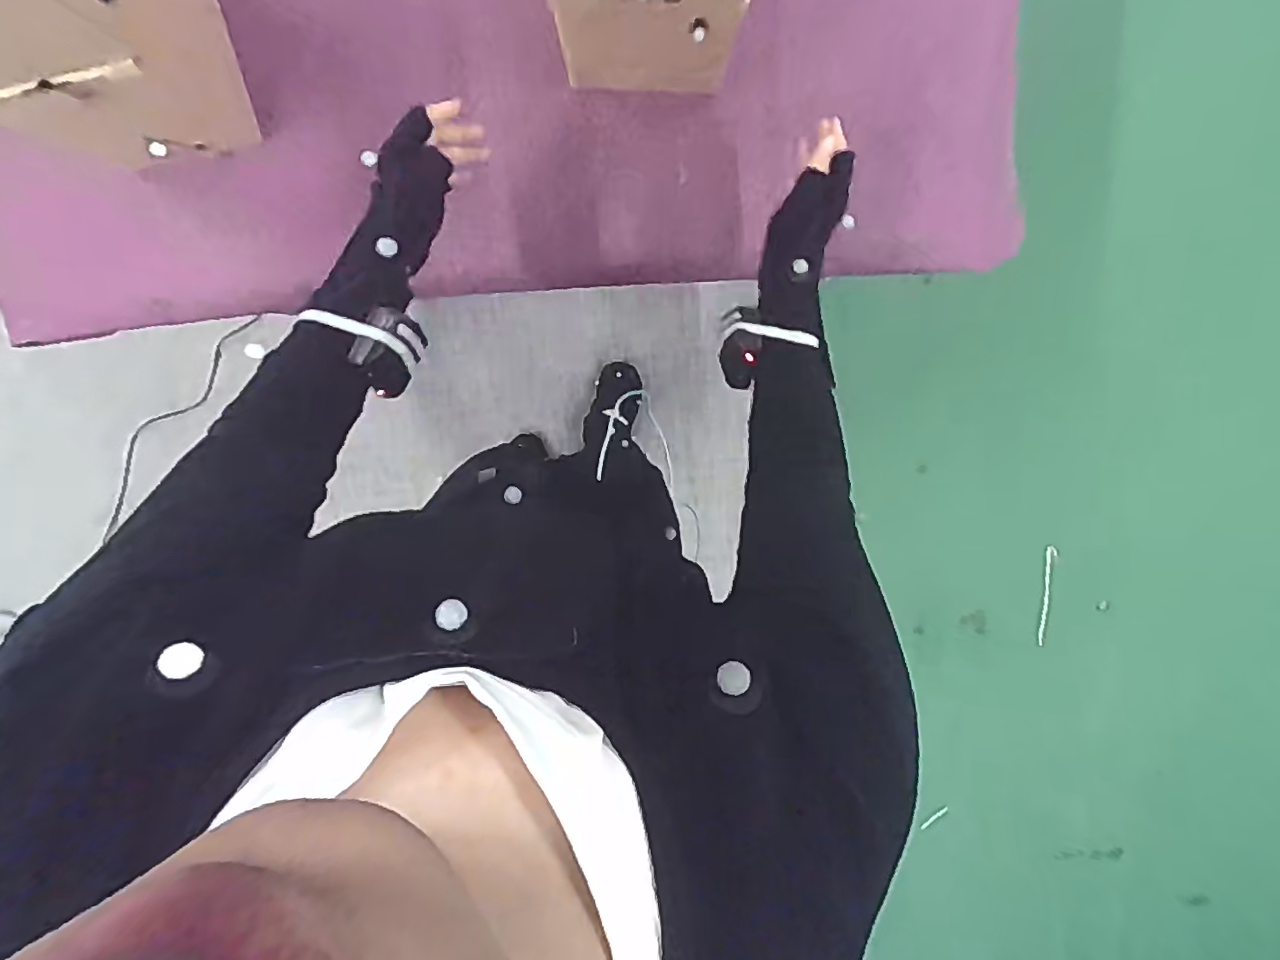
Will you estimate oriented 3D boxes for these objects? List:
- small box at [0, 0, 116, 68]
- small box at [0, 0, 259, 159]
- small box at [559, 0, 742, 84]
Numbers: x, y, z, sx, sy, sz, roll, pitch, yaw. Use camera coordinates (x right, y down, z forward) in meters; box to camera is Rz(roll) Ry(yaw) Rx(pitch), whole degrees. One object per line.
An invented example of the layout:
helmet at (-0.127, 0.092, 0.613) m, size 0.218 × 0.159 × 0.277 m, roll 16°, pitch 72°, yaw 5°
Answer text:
small box at (-0.513, -0.410, 0.358) m, size 0.179 × 0.176 × 0.168 m, roll -8°, pitch 102°, yaw 0°
small box at (-0.522, -0.445, 0.522) m, size 0.168 × 0.176 × 0.179 m, roll -10°, pitch 104°, yaw 2°
small box at (0.010, -0.511, 0.517) m, size 0.179 × 0.176 × 0.168 m, roll 1°, pitch 104°, yaw -2°
